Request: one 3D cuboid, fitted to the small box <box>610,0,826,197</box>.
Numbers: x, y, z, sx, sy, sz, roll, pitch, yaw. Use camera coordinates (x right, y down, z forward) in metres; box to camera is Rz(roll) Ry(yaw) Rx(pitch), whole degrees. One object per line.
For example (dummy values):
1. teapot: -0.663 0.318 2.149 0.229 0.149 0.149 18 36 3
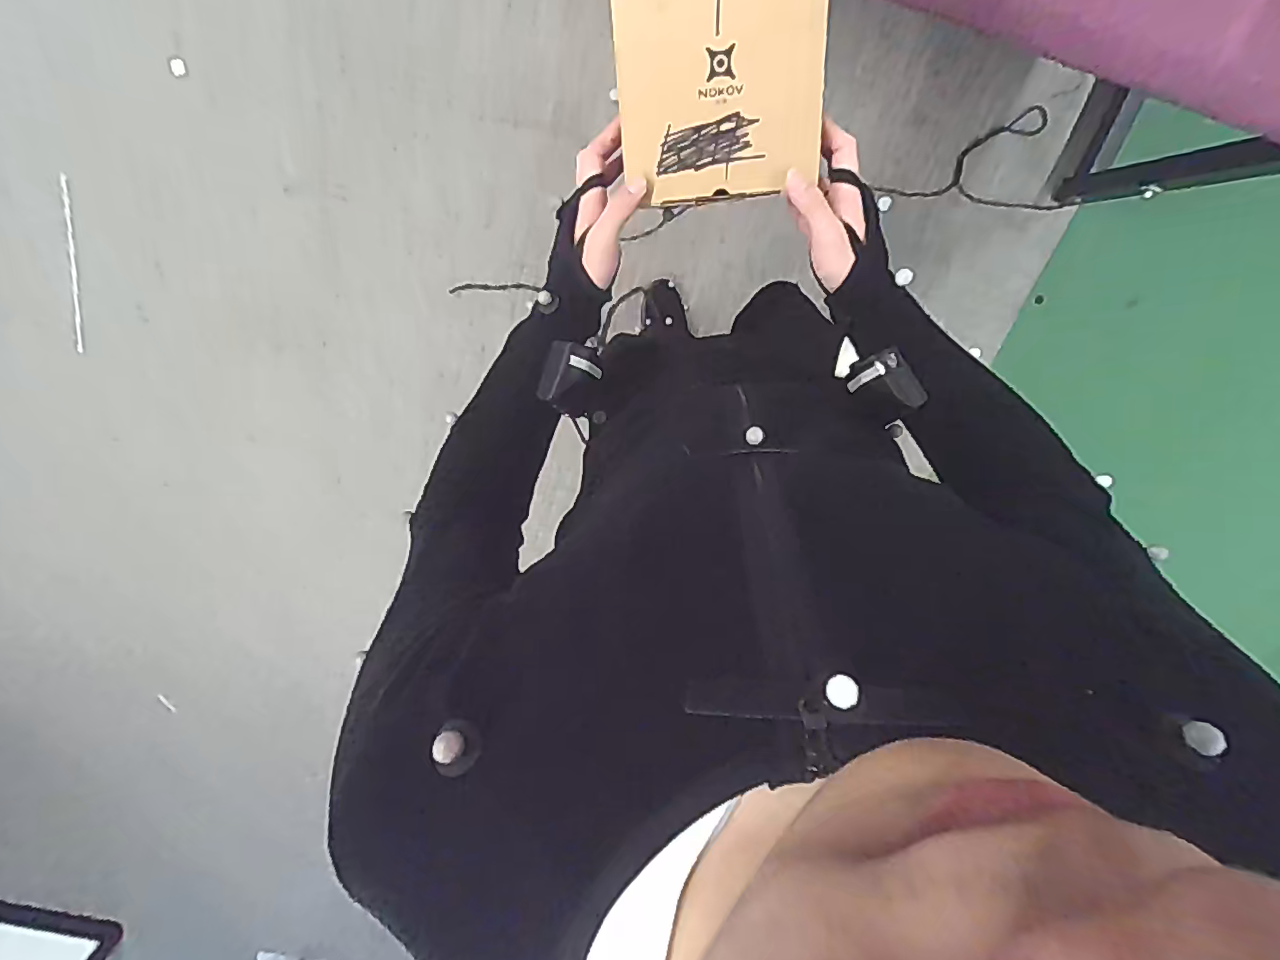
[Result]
1. small box: 0.067 -0.365 0.499 0.168 0.176 0.179 -2 116 6
